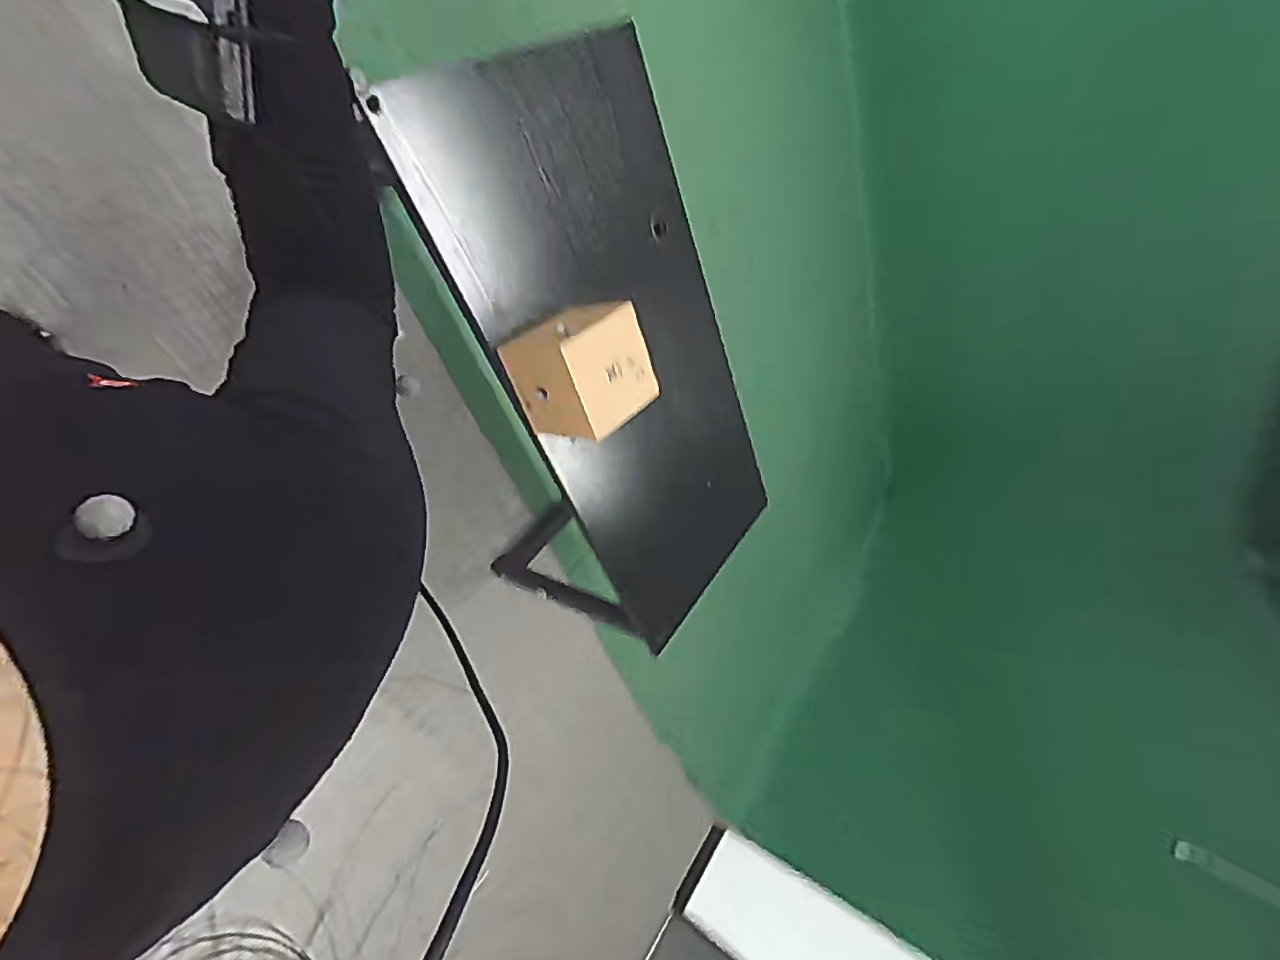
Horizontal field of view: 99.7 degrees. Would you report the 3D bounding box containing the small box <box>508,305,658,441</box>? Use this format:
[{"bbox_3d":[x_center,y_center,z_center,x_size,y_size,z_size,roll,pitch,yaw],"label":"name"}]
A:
[{"bbox_3d":[-0.102,-0.185,0.927,0.179,0.176,0.168,-42,127,-34],"label":"small box"}]
